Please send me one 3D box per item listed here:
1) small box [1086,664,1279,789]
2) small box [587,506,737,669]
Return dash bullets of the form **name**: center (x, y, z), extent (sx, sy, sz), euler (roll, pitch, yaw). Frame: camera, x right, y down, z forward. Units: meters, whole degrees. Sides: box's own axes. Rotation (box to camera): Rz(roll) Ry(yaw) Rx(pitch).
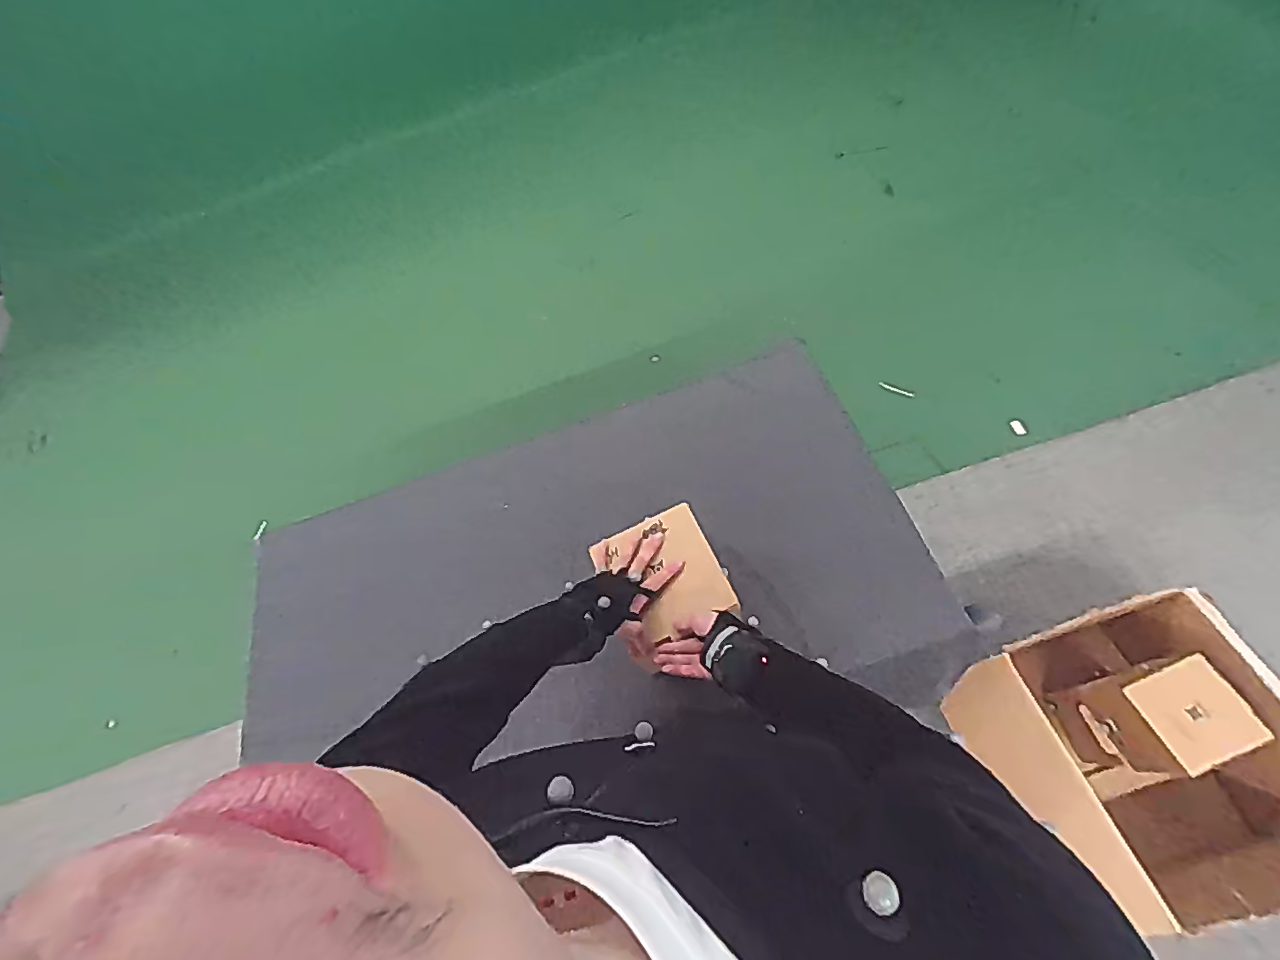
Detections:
- **small box**: center (1.052, 0.482, 1.068), extent (0.179, 0.176, 0.168), euler (-25, 62, -1)
- **small box**: center (0.041, 0.174, 0.827), extent (0.168, 0.176, 0.179), euler (-24, 60, -2)
